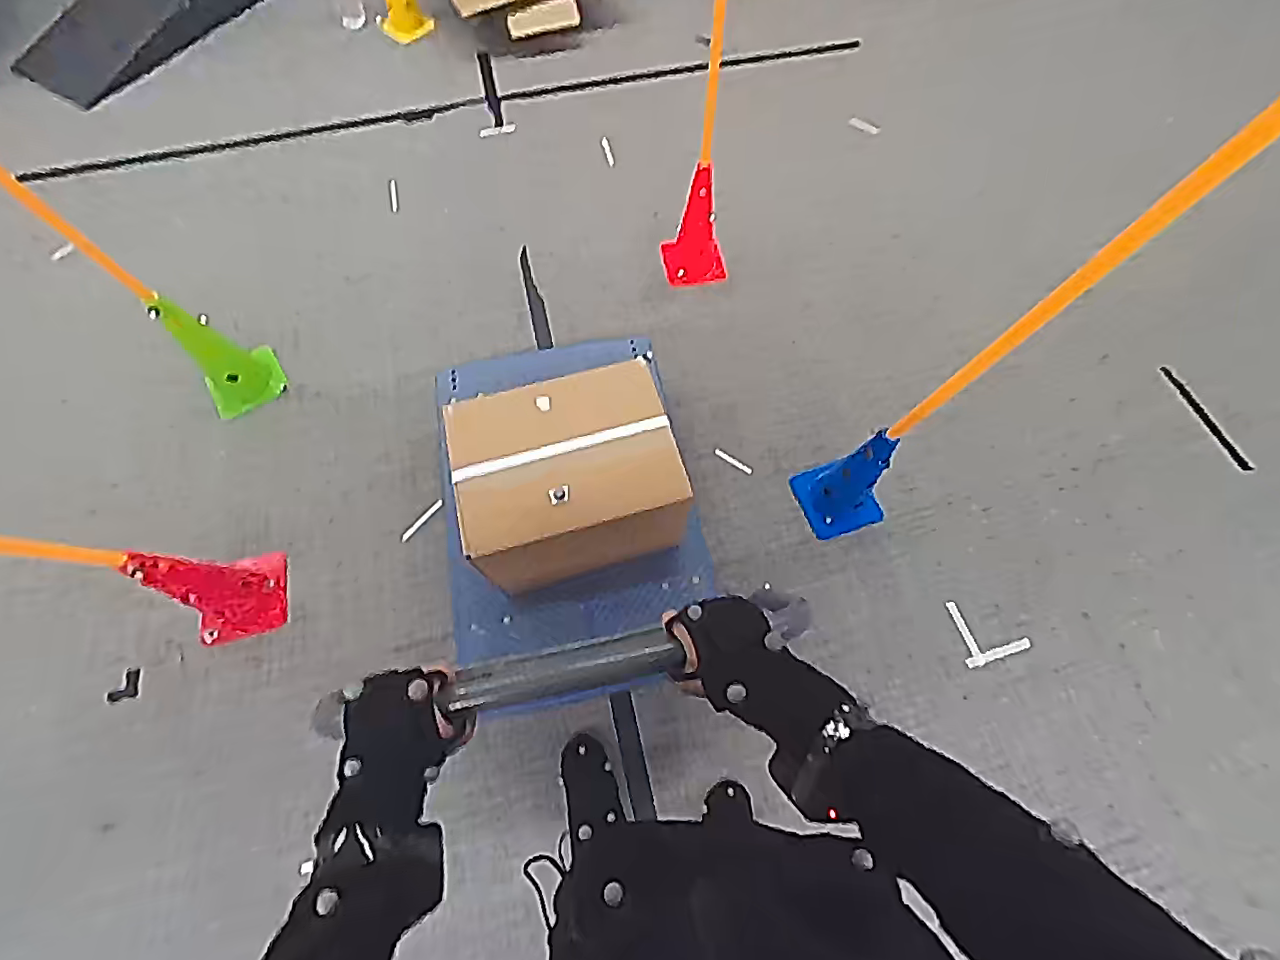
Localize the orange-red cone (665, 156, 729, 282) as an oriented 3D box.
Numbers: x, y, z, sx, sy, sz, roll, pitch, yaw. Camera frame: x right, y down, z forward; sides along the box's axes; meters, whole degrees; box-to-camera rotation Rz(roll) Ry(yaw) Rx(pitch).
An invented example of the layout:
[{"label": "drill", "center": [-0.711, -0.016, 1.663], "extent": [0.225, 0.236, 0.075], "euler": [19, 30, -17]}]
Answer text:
[{"label": "orange-red cone", "center": [0.191, -0.809, 1.644], "extent": [0.199, 0.360, 0.198], "euler": [-7, 67, -4]}]

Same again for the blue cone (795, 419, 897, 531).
[{"label": "blue cone", "center": [0.537, -0.030, 1.321], "extent": [0.193, 0.380, 0.192], "euler": [-17, 66, -8]}]
